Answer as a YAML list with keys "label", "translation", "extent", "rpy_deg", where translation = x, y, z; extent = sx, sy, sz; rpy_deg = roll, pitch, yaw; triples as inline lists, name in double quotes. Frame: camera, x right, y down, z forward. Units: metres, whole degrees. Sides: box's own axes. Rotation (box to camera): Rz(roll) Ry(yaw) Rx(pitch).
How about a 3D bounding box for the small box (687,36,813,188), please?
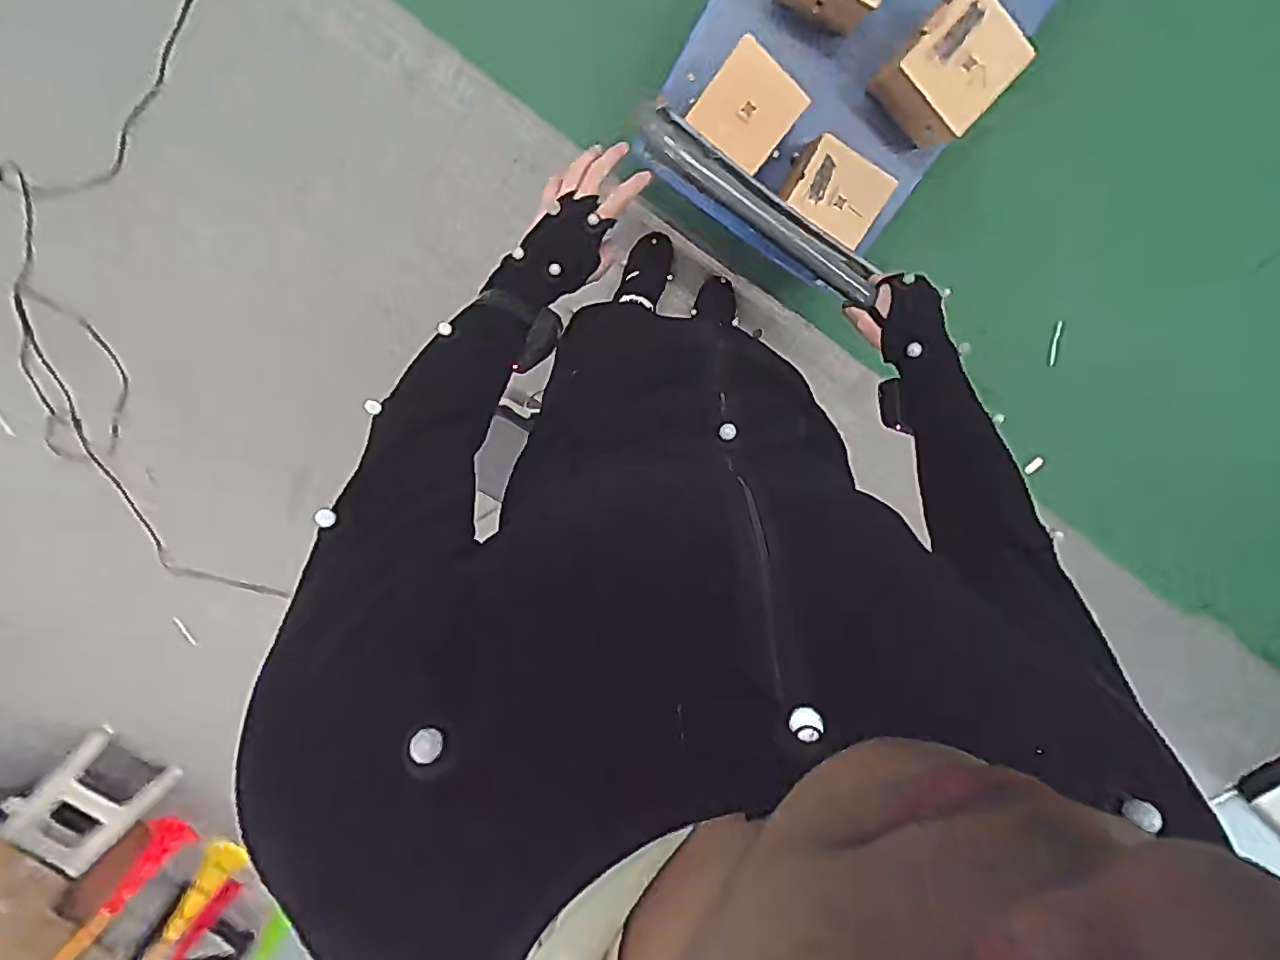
- label: "small box"
  translation: [0.204, -0.712, 1.071]
  extent: [0.168, 0.176, 0.179]
  rpy_deg: [37, 112, -15]

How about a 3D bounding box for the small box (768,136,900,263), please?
- label: "small box"
  translation: [0.390, -0.575, 1.127]
  extent: [0.179, 0.176, 0.168]
  rpy_deg: [28, 114, -11]

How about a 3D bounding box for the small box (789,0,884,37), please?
- label: "small box"
  translation: [0.374, -0.938, 0.957]
  extent: [0.168, 0.176, 0.179]
  rpy_deg: [22, 114, -9]
